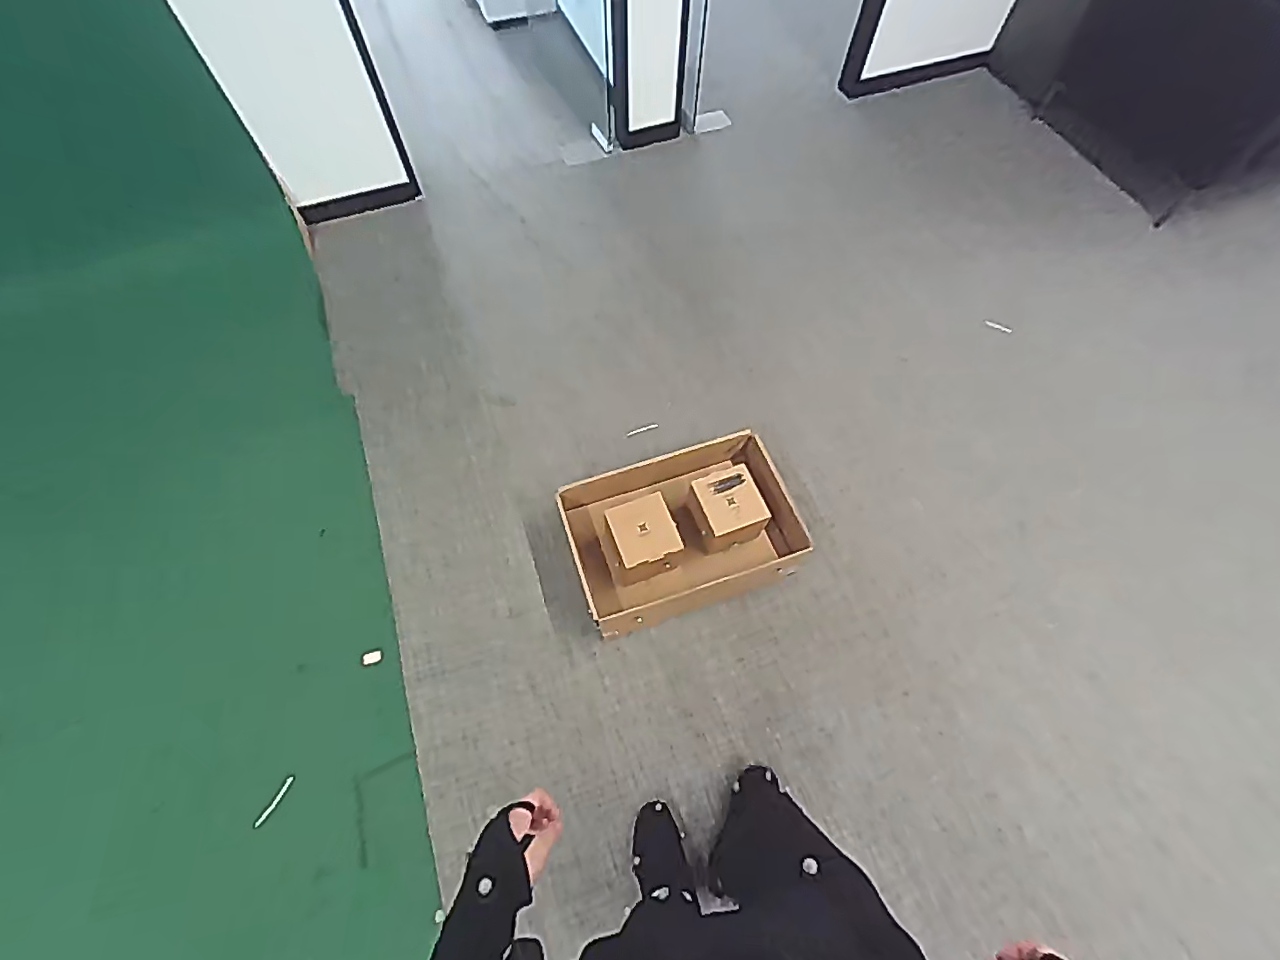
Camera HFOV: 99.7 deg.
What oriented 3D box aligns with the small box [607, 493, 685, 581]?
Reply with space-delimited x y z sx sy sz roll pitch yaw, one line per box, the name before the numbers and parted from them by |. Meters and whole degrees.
small box | 0.014 0.167 1.494 0.168 0.176 0.179 -18 64 -11
